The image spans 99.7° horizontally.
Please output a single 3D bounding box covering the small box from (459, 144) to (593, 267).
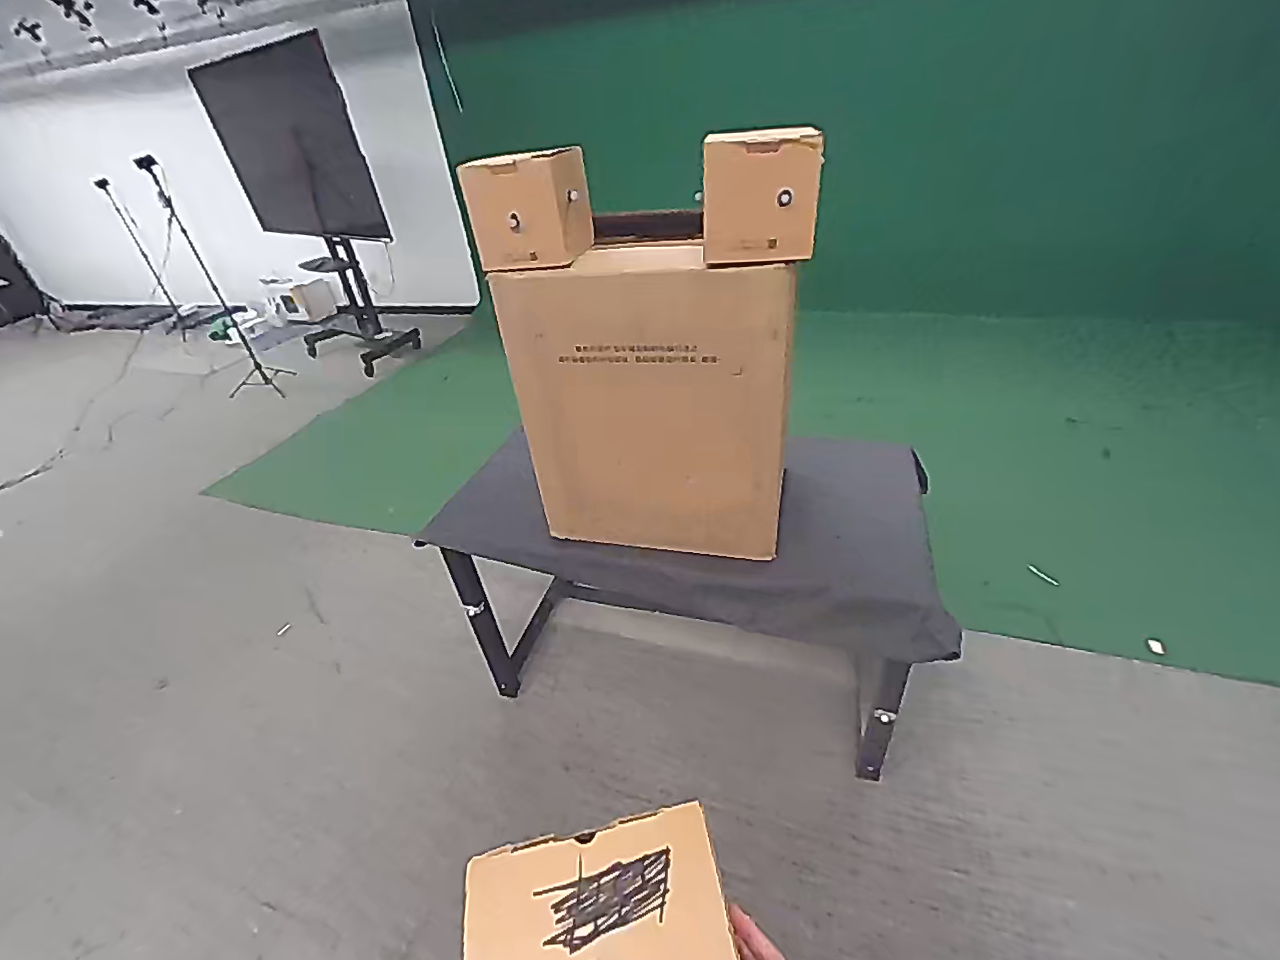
[{"bbox_3d":[-0.191,-0.490,0.976,0.168,0.176,0.179,2,36,14],"label":"small box"}]

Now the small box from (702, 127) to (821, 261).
[{"bbox_3d":[0.187,-0.453,0.861,0.168,0.176,0.179,2,35,9],"label":"small box"}]

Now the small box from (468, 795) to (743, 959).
[{"bbox_3d":[-0.010,0.349,0.370,0.168,0.176,0.179,-13,46,-1],"label":"small box"}]
